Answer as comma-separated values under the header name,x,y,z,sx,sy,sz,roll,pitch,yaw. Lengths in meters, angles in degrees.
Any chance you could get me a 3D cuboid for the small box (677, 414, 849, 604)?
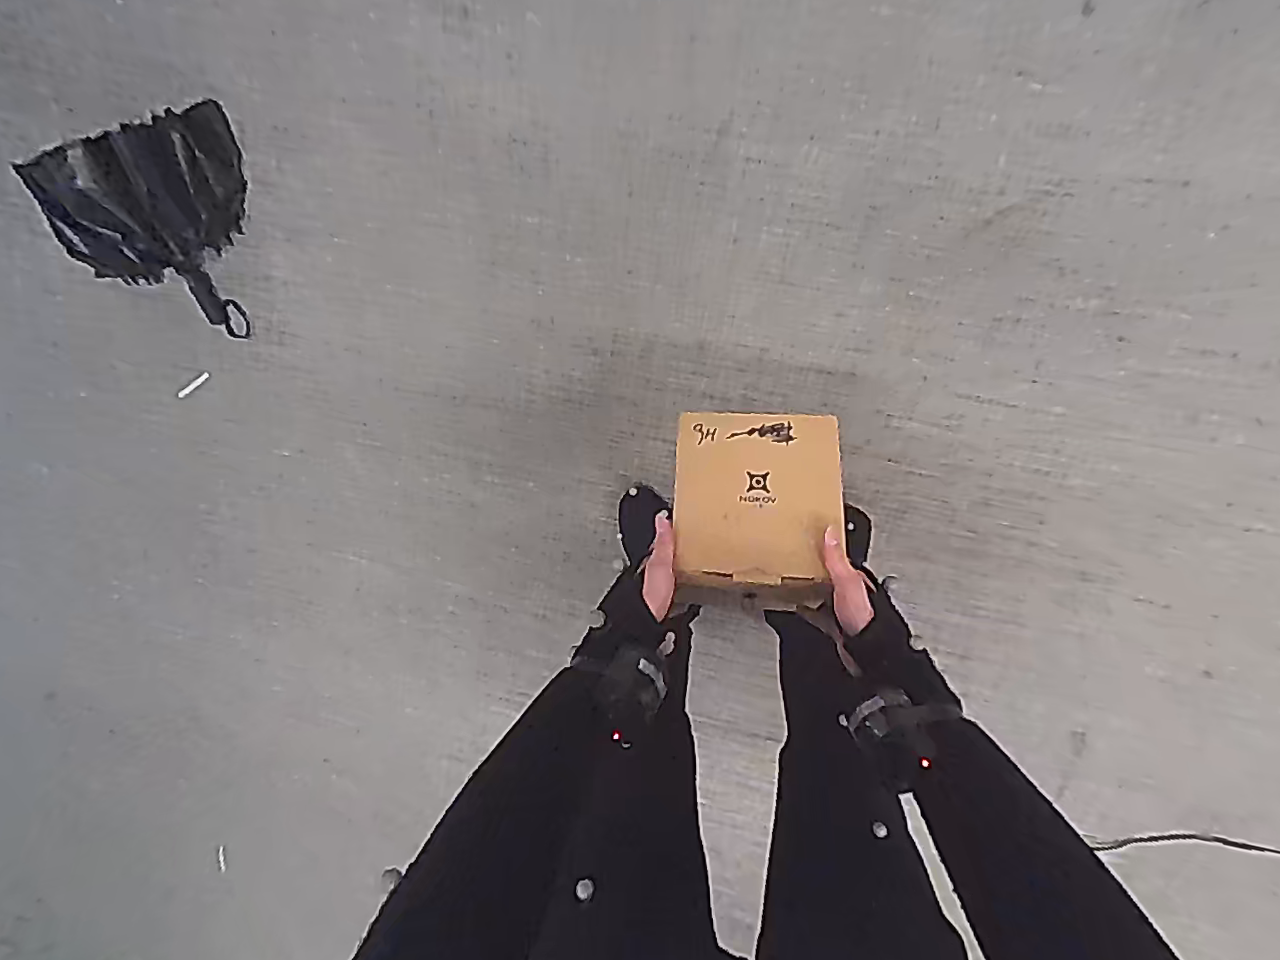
name,x,y,z,sx,sy,sz,roll,pitch,yaw
small box,0.132,0.042,0.621,0.168,0.176,0.179,3,68,6
